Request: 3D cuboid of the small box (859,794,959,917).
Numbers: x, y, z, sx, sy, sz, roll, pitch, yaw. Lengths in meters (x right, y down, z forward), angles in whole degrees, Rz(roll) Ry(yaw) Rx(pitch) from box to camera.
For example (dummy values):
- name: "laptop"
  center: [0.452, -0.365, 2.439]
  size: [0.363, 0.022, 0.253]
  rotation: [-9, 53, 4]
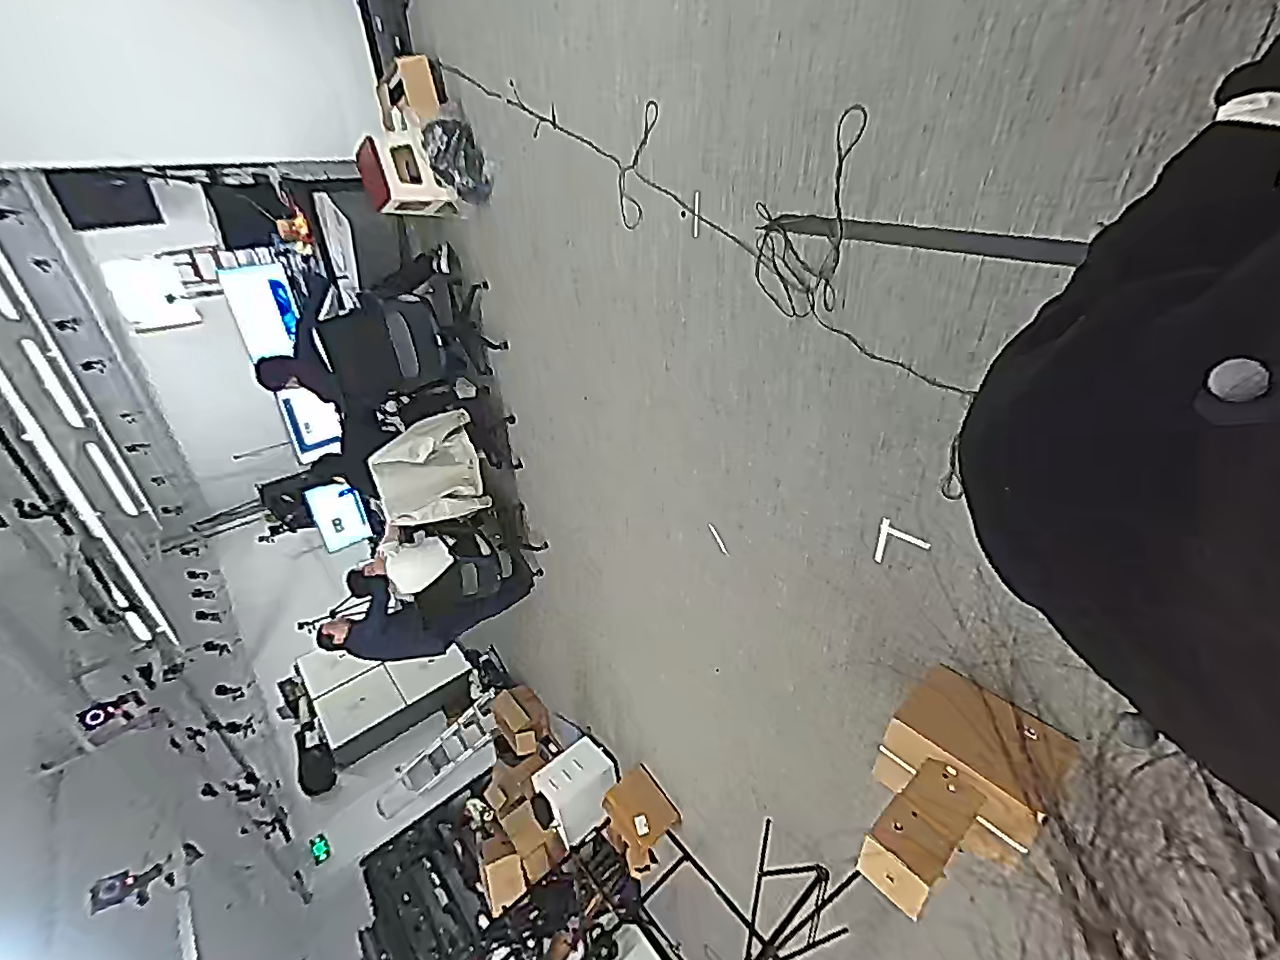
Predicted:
- name: "small box"
  center: [0.709, 0.979, 1.424]
  size: [0.168, 0.176, 0.179]
  rotation: [28, 133, 43]

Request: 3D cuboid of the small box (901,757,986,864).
- name: "small box"
  center: [0.835, 0.928, 1.514]
  size: [0.168, 0.176, 0.179]
  rotation: [29, 132, 41]
